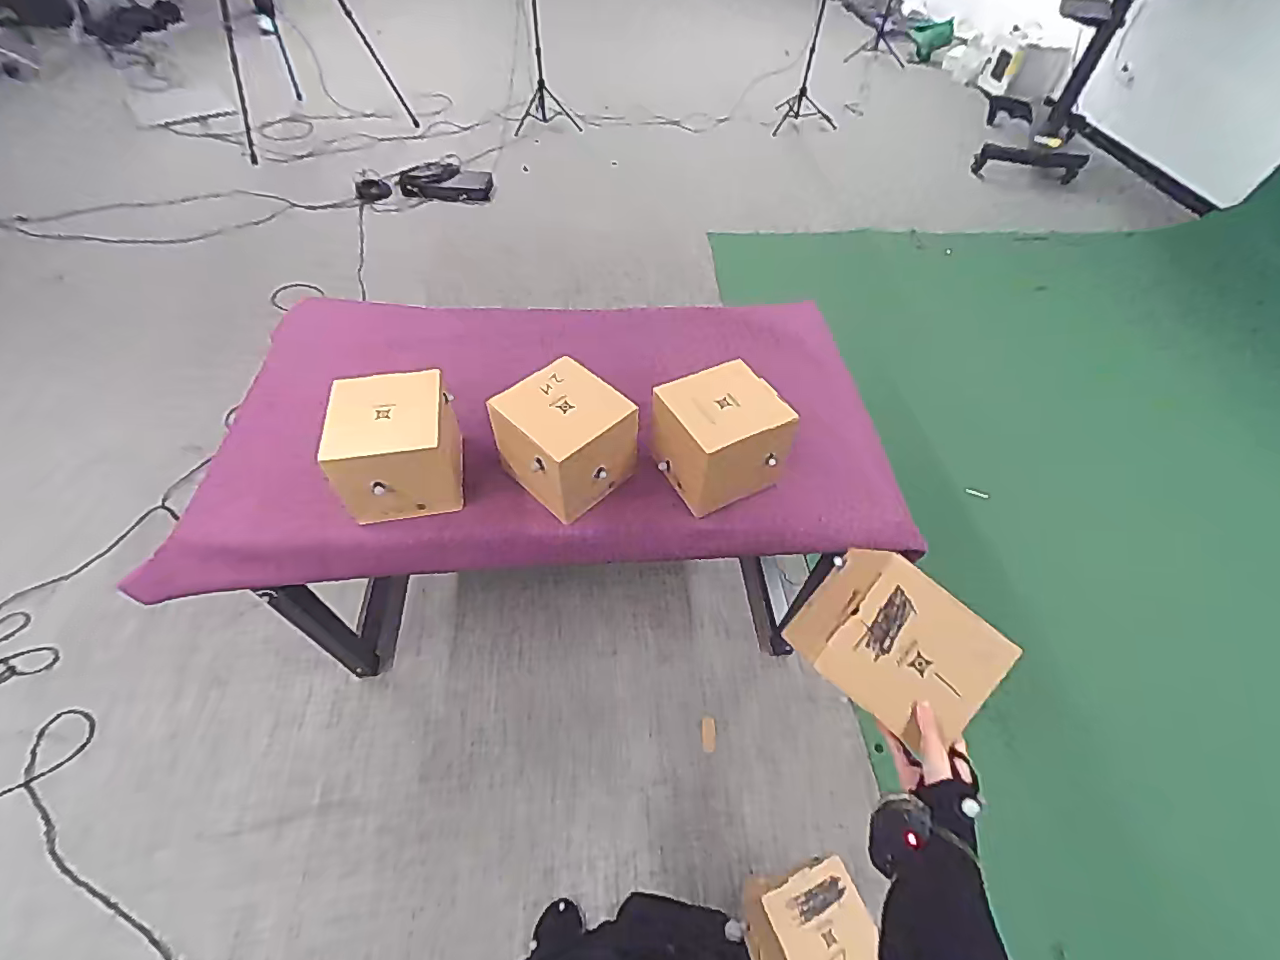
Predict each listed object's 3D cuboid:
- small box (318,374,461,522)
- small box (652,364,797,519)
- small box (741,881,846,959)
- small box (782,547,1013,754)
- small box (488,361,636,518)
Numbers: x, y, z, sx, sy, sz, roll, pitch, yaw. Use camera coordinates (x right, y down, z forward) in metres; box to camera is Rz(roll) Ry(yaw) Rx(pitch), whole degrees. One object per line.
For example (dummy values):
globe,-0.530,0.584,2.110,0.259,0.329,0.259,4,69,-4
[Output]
small box,-0.392,-0.046,0.881,0.168,0.176,0.179,-8,52,-10
small box,0.132,-0.064,0.924,0.179,0.176,0.168,-22,54,-18
small box,0.301,0.924,1.091,0.179,0.176,0.168,6,53,2
small box,0.310,0.202,0.696,0.179,0.176,0.168,40,88,4
small box,-0.124,-0.060,0.904,0.179,0.176,0.168,39,59,24
